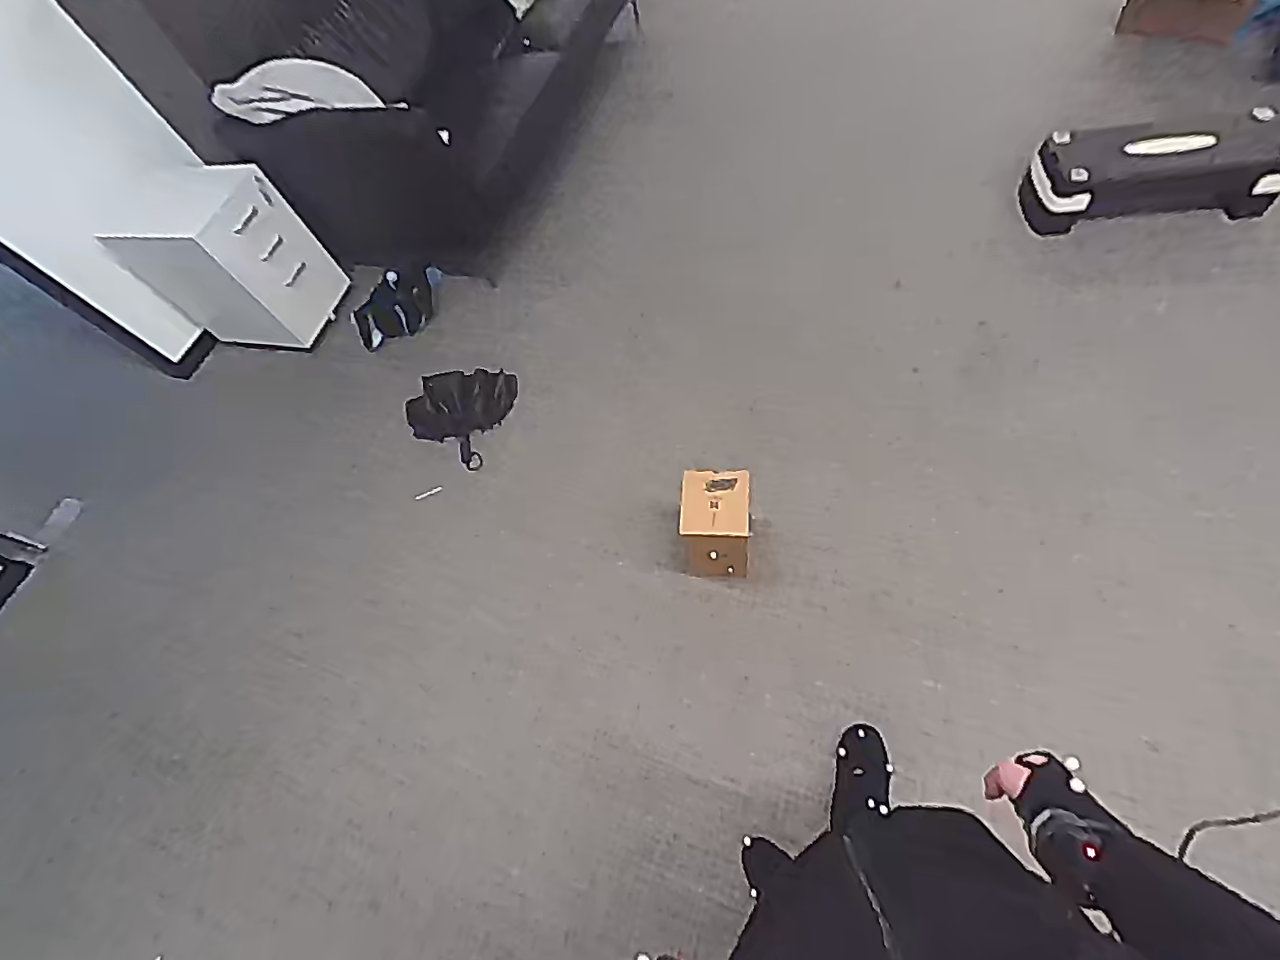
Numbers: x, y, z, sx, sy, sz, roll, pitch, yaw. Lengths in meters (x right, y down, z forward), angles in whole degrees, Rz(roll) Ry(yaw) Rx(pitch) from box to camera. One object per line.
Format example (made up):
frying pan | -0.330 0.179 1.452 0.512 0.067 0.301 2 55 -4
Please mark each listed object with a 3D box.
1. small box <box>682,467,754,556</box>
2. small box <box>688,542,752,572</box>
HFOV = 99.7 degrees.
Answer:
small box | 0.204 0.081 1.378 0.168 0.176 0.179 1 64 13
small box | 0.231 0.153 1.524 0.168 0.176 0.179 0 61 12
